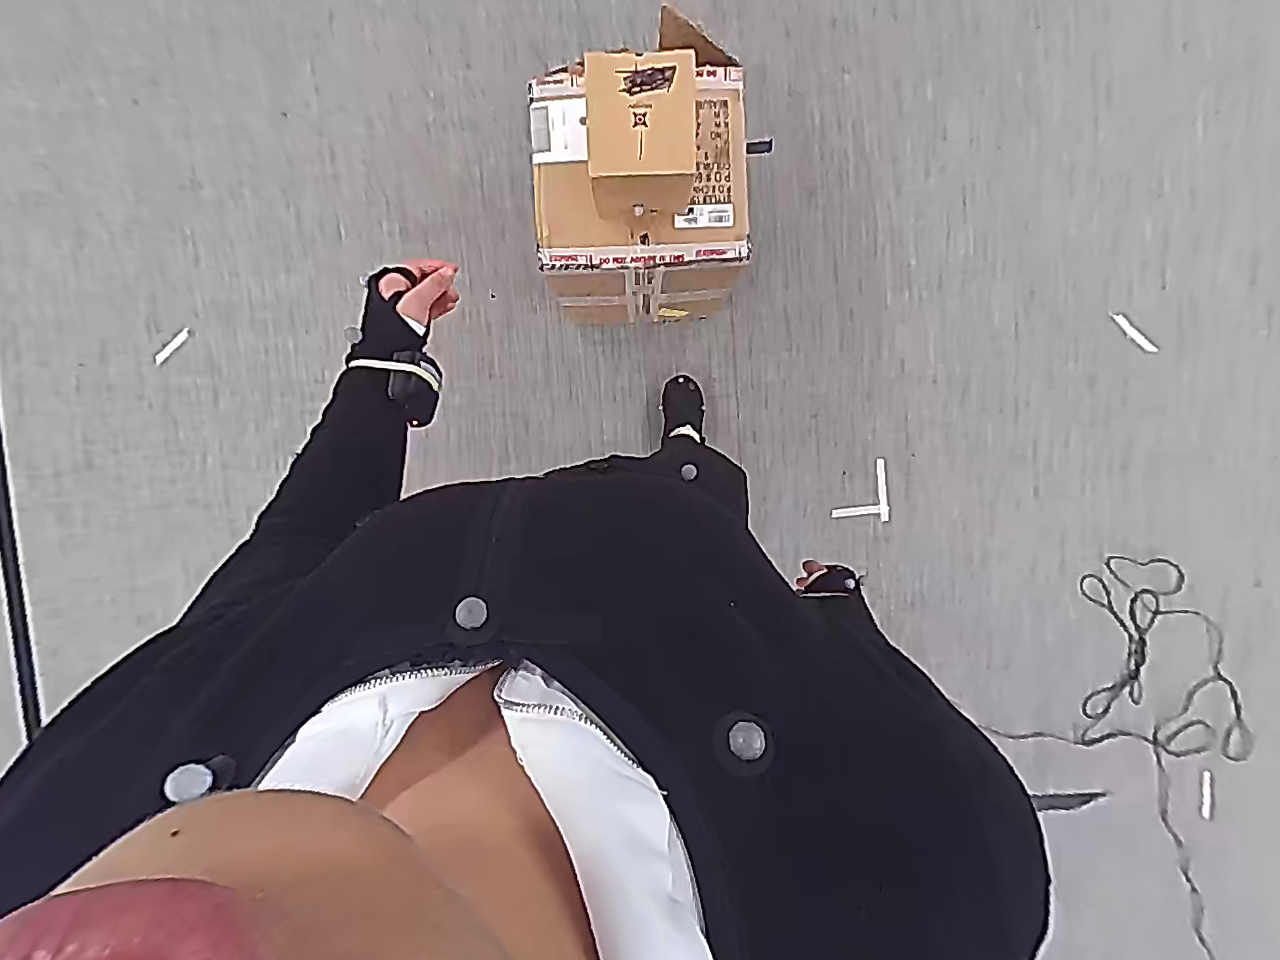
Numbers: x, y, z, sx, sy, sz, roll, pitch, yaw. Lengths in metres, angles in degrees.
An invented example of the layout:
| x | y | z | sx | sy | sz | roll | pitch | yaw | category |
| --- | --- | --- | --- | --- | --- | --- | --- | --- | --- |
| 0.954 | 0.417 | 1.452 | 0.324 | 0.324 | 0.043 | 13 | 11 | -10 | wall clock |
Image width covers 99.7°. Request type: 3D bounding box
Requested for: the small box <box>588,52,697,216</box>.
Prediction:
| x | y | z | sx | sy | sz | roll | pitch | yaw | category |
| --- | --- | --- | --- | --- | --- | --- | --- | --- | --- |
| 0.003 | -0.556 | 0.889 | 0.168 | 0.176 | 0.179 | -1 | 97 | 0 | small box |
